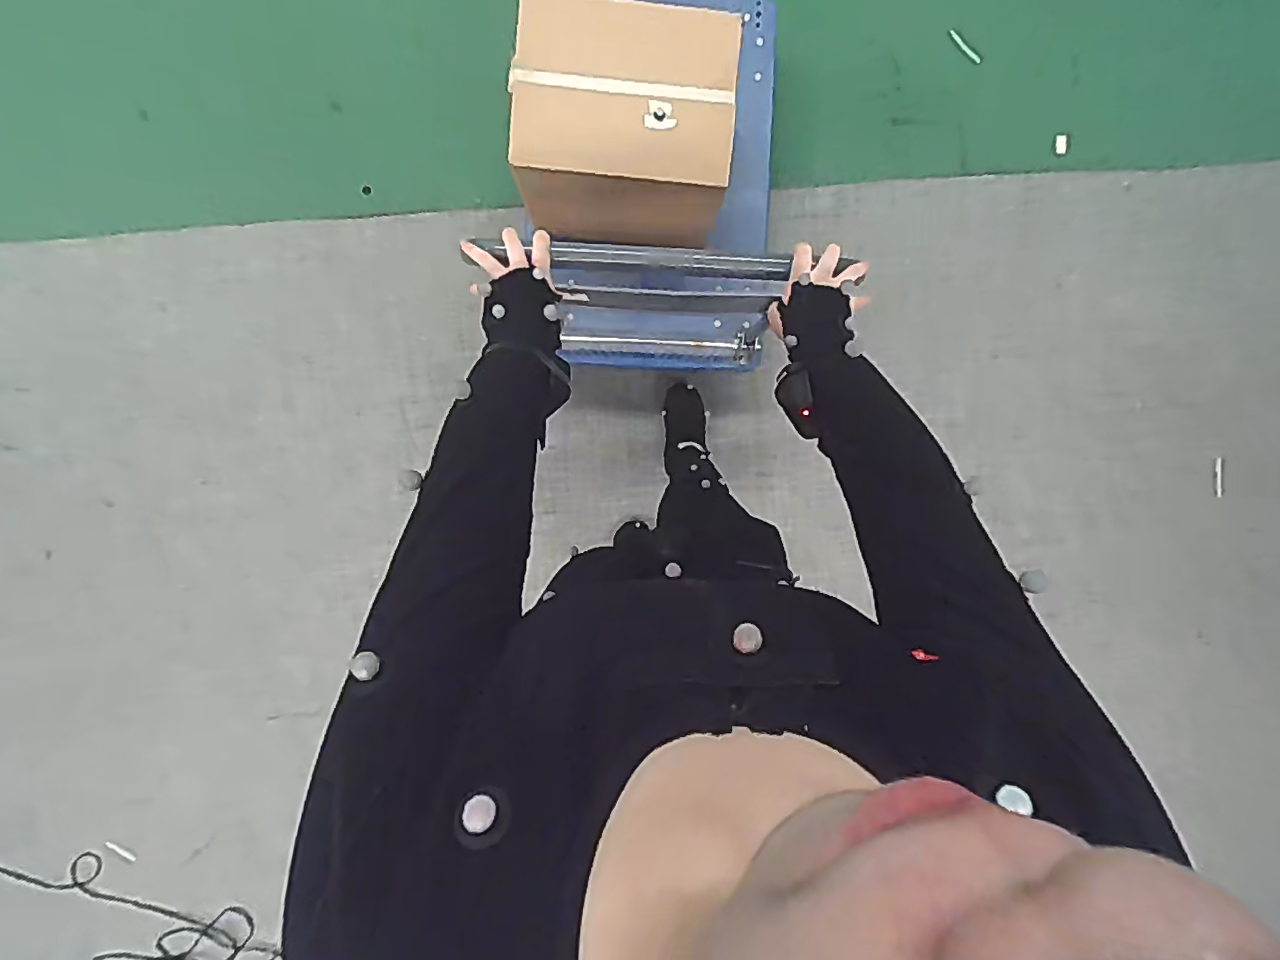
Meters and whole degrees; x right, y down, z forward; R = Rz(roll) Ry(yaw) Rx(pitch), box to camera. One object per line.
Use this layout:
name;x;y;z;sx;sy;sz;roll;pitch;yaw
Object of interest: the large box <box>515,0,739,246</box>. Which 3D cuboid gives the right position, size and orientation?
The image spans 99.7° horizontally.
large box;-0.032;-0.721;1.145;0.408;0.320;0.320;4;92;-3
